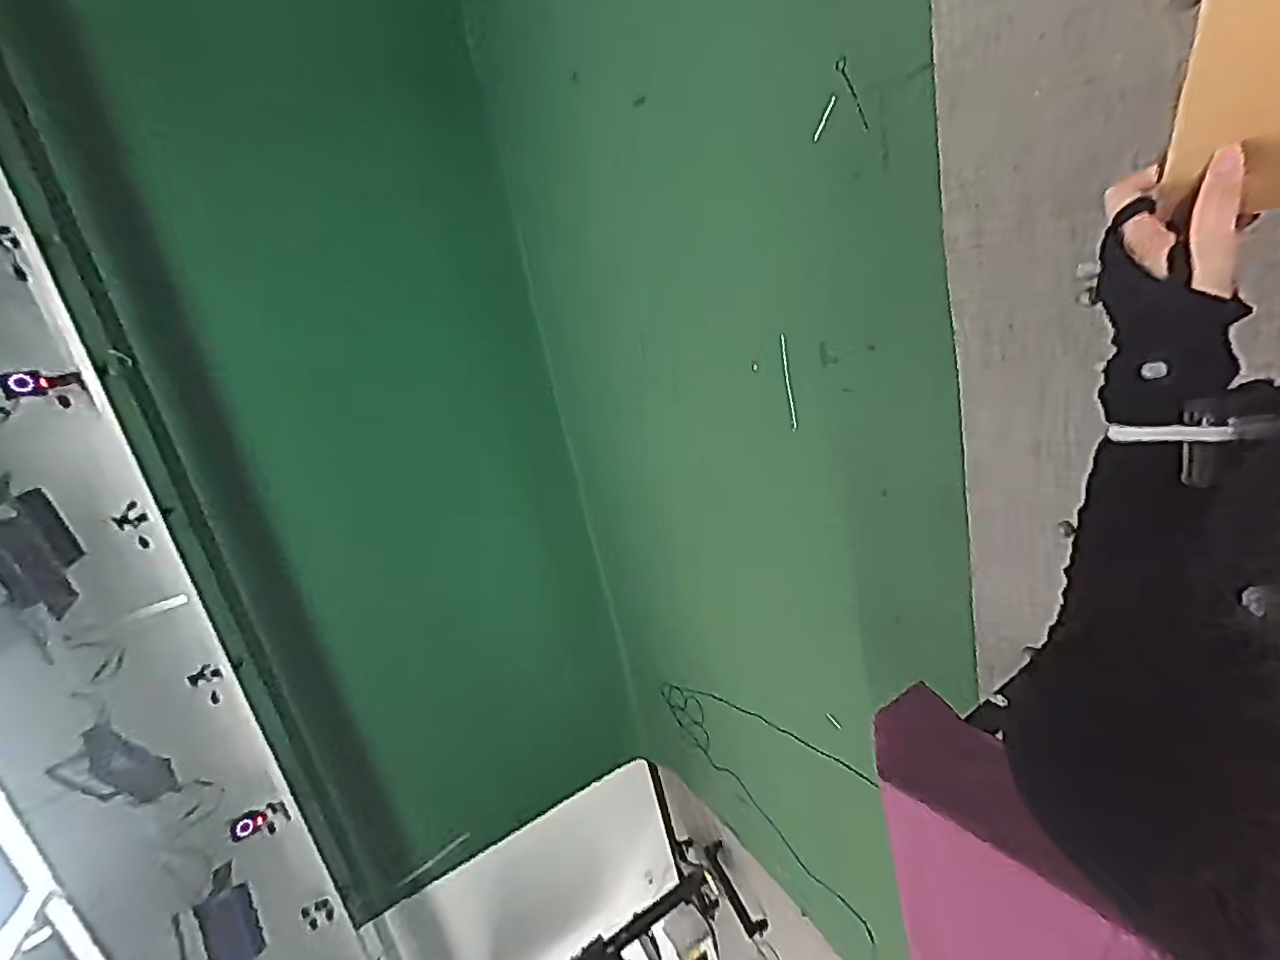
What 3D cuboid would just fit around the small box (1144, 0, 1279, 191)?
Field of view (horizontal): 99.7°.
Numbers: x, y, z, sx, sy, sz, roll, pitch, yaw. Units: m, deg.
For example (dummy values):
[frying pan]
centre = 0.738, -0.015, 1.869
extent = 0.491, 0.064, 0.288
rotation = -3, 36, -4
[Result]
[small box]
centre = 0.421, -0.293, 0.295
extent = 0.179, 0.176, 0.168
rotation = 14, 152, 38
